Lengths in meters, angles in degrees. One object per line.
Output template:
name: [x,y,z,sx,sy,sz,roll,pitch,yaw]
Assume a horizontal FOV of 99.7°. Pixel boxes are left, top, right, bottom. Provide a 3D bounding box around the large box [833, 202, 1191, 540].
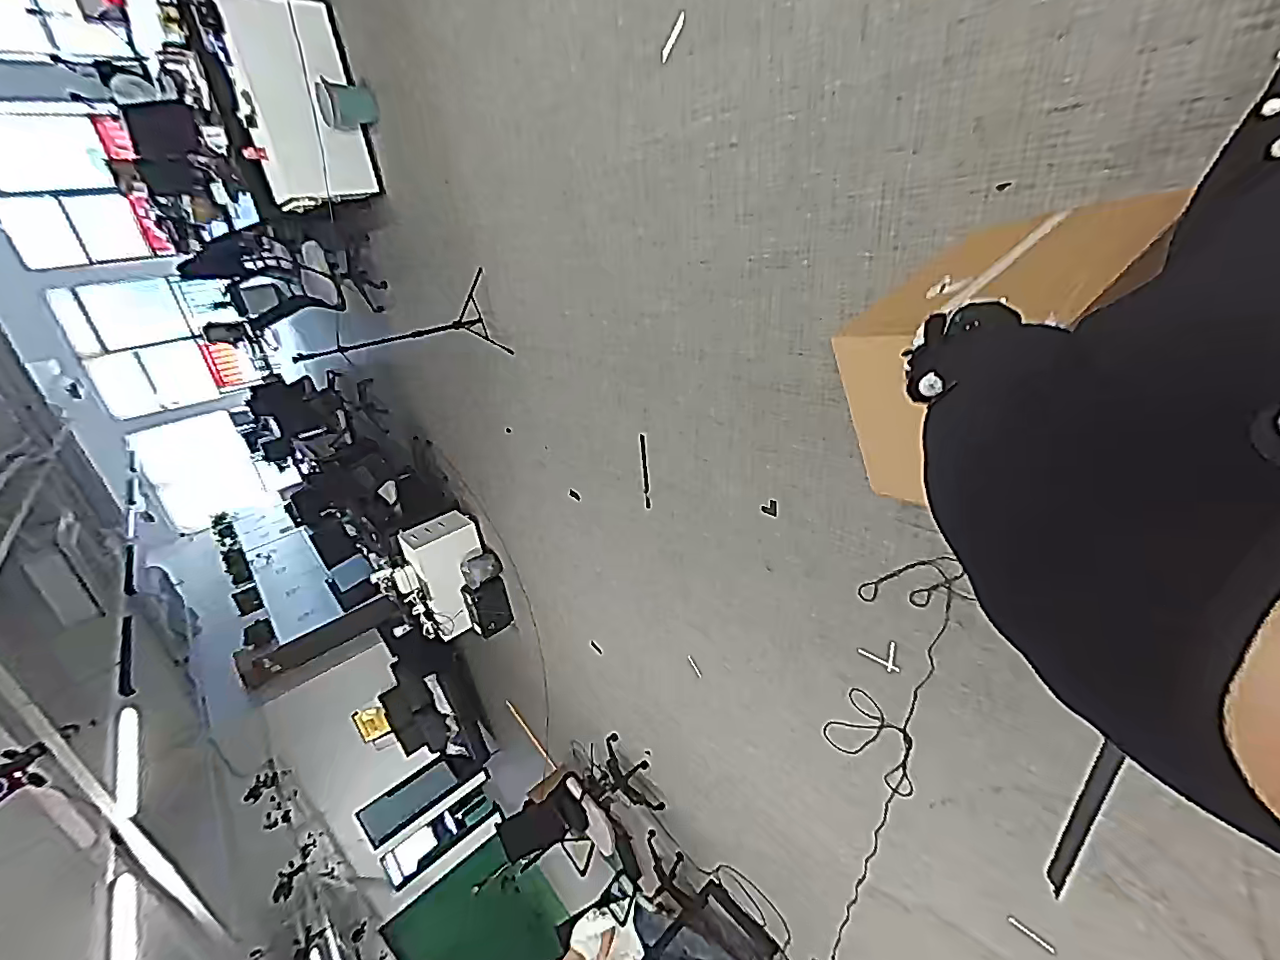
large box: [0.585,-0.173,0.852,0.320,0.408,0.320,18,140,58]
